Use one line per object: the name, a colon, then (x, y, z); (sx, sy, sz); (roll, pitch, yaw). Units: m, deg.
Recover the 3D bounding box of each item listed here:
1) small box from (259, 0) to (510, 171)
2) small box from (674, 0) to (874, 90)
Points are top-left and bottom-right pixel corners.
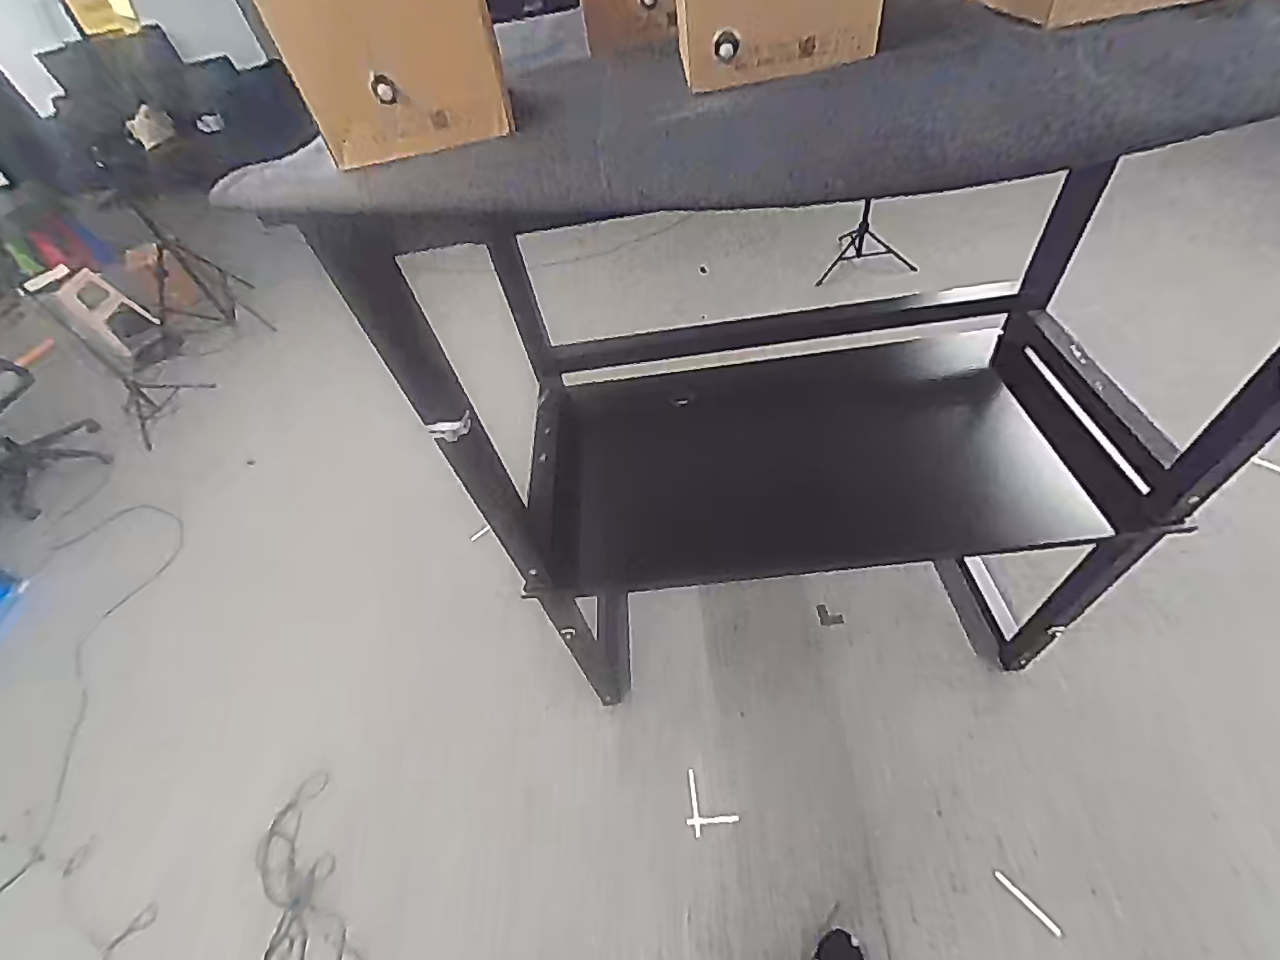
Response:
small box: (-0.226, -0.414, 0.500); (0.168, 0.176, 0.179); (-14, 50, -2)
small box: (0.112, -0.476, 0.487); (0.168, 0.176, 0.179); (-6, 48, 6)
